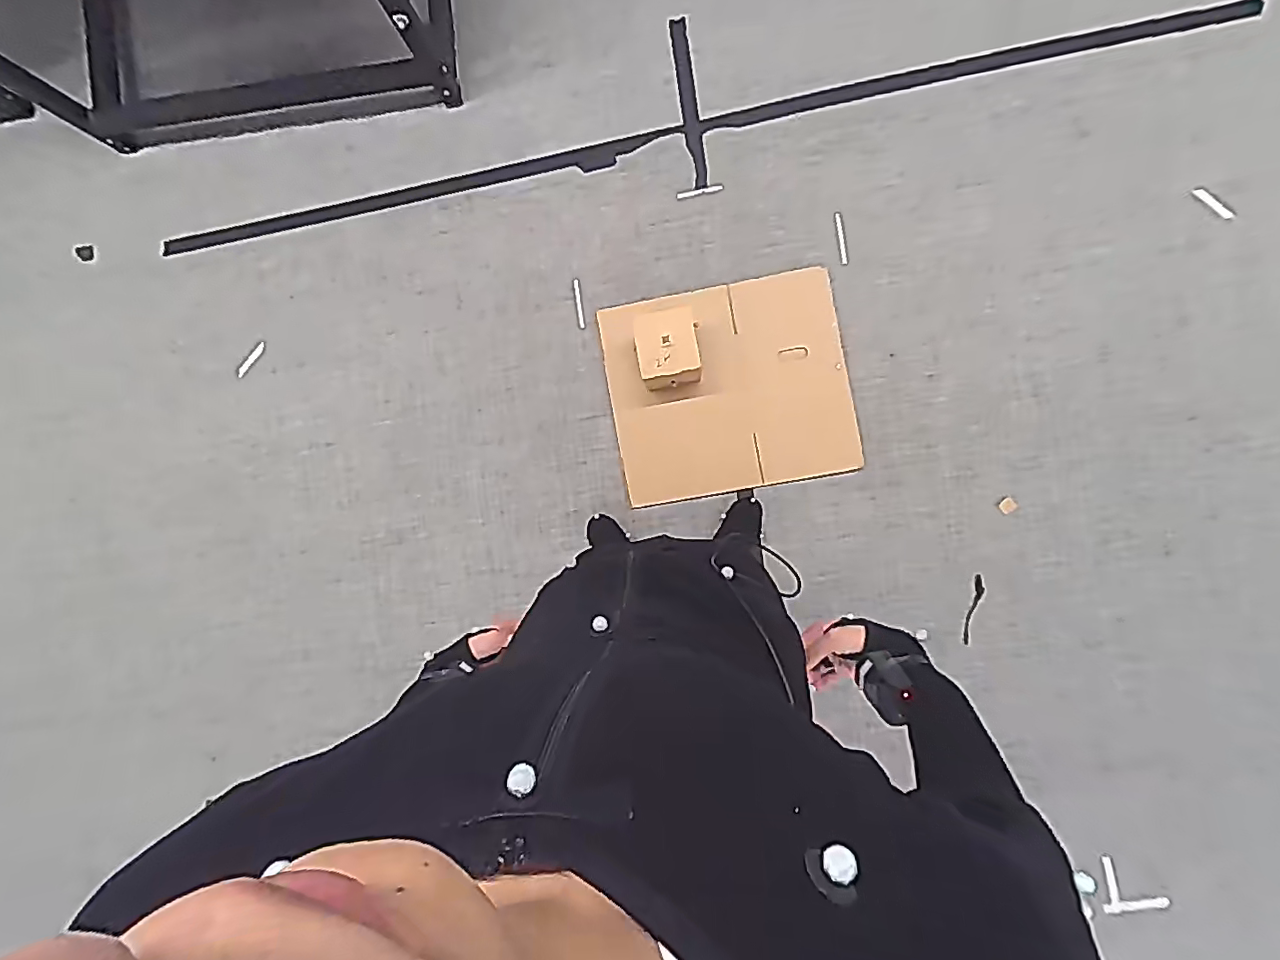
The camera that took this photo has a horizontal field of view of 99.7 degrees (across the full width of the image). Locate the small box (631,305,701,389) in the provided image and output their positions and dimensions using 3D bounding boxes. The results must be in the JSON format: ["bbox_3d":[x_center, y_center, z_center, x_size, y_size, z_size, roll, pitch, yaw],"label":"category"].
[{"bbox_3d":[0.076,-0.372,1.535,0.168,0.176,0.179,-11,89,6],"label":"small box"}]
